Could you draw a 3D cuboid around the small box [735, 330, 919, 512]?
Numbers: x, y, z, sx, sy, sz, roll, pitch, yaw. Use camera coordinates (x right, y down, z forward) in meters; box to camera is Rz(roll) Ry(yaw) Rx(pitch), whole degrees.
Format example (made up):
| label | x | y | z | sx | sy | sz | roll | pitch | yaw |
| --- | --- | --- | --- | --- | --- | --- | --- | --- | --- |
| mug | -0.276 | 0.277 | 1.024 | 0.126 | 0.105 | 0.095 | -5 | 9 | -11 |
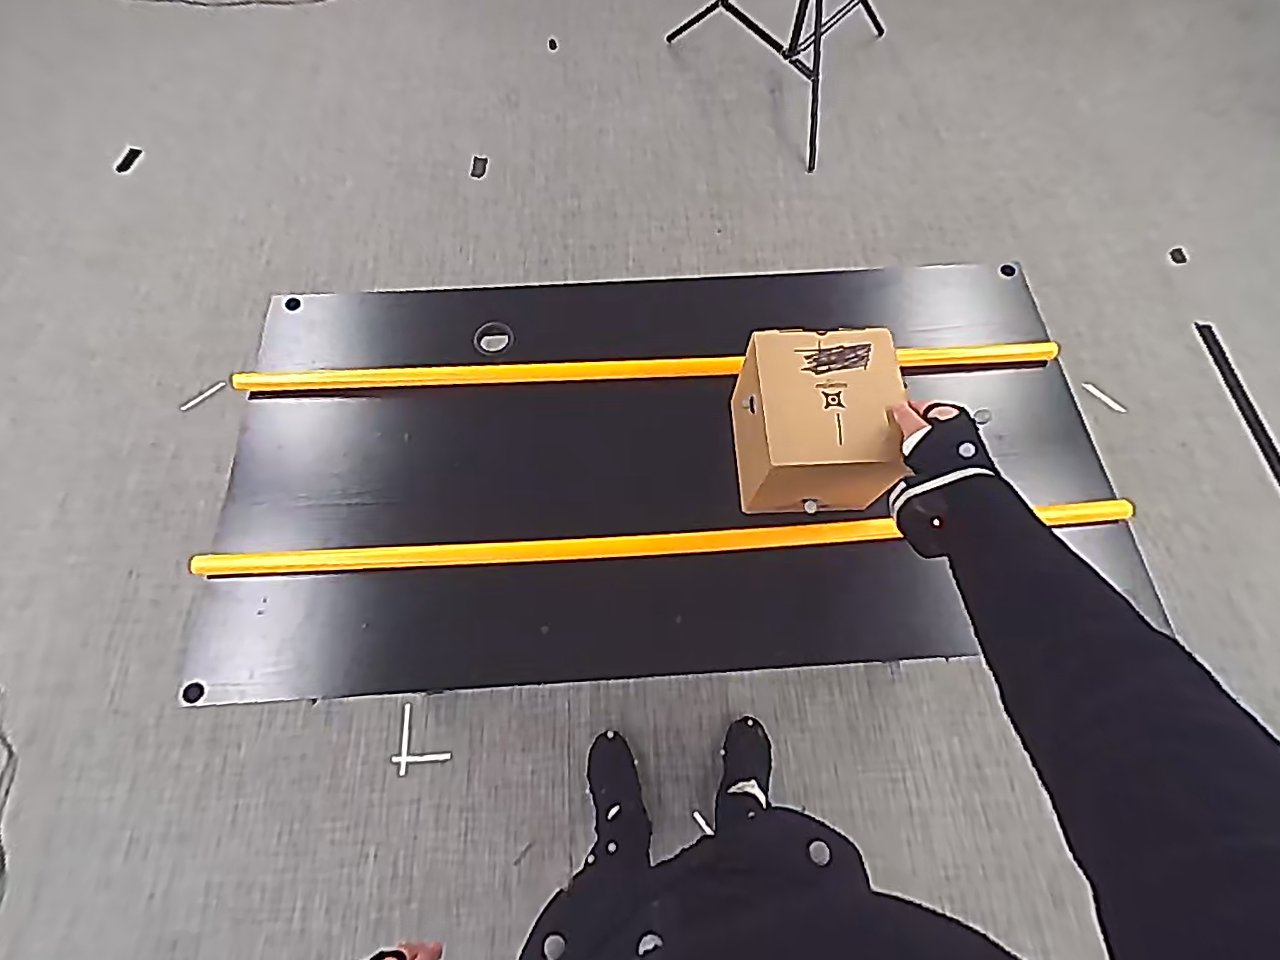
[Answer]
| label | x | y | z | sx | sy | sz | roll | pitch | yaw |
| --- | --- | --- | --- | --- | --- | --- | --- | --- | --- |
| small box | 0.220 | -0.069 | 0.689 | 0.168 | 0.176 | 0.179 | -2 | 69 | 0 |
